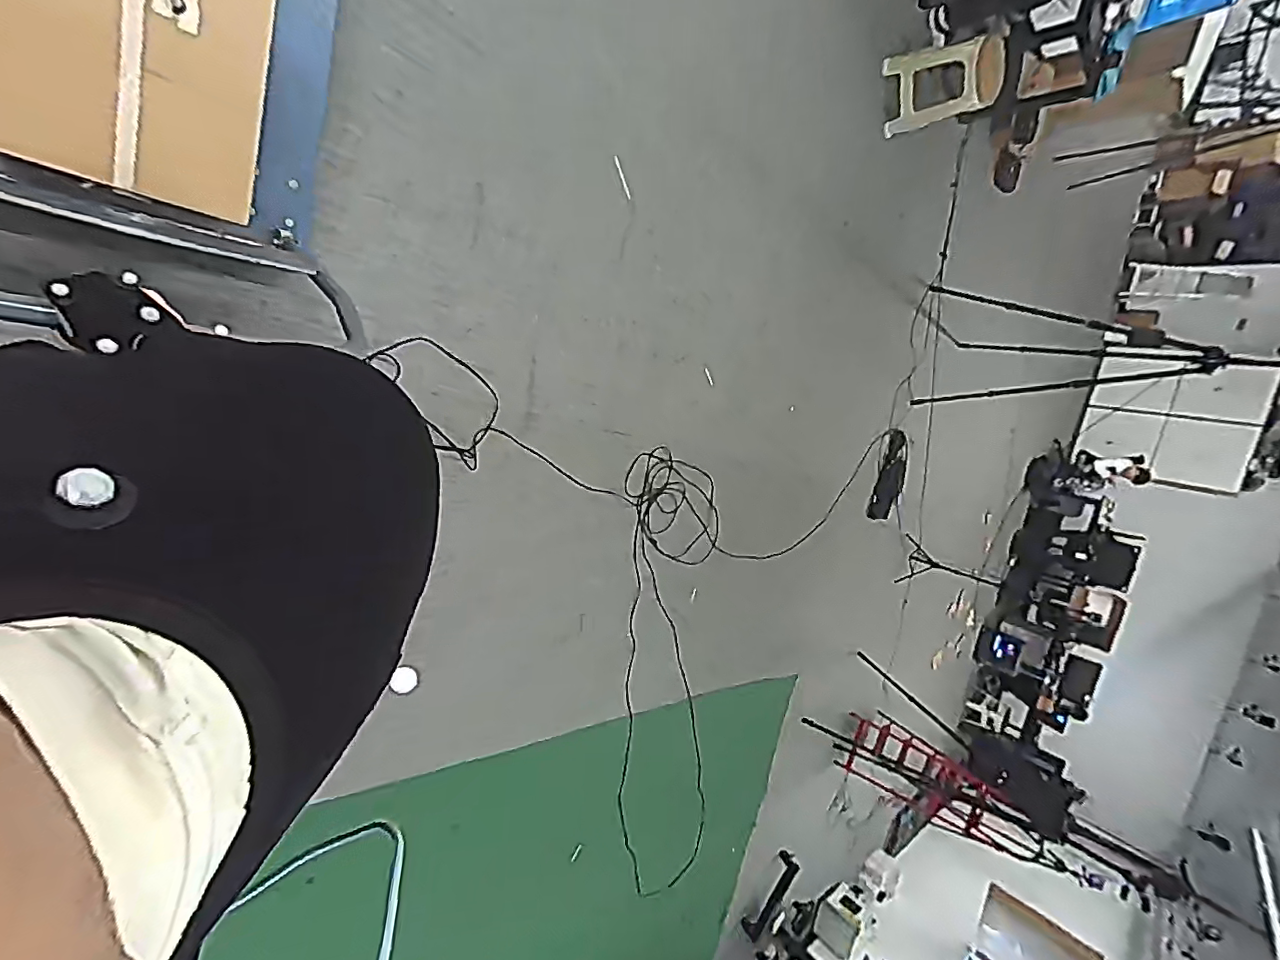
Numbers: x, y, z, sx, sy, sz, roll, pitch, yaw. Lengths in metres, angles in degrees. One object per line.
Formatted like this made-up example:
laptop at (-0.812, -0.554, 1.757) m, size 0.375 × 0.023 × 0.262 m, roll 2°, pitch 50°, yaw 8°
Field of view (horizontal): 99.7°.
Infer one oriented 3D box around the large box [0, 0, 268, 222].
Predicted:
large box at (-0.815, -0.680, 0.860) m, size 0.320 × 0.320 × 0.408 m, roll 4°, pitch 111°, yaw -45°
